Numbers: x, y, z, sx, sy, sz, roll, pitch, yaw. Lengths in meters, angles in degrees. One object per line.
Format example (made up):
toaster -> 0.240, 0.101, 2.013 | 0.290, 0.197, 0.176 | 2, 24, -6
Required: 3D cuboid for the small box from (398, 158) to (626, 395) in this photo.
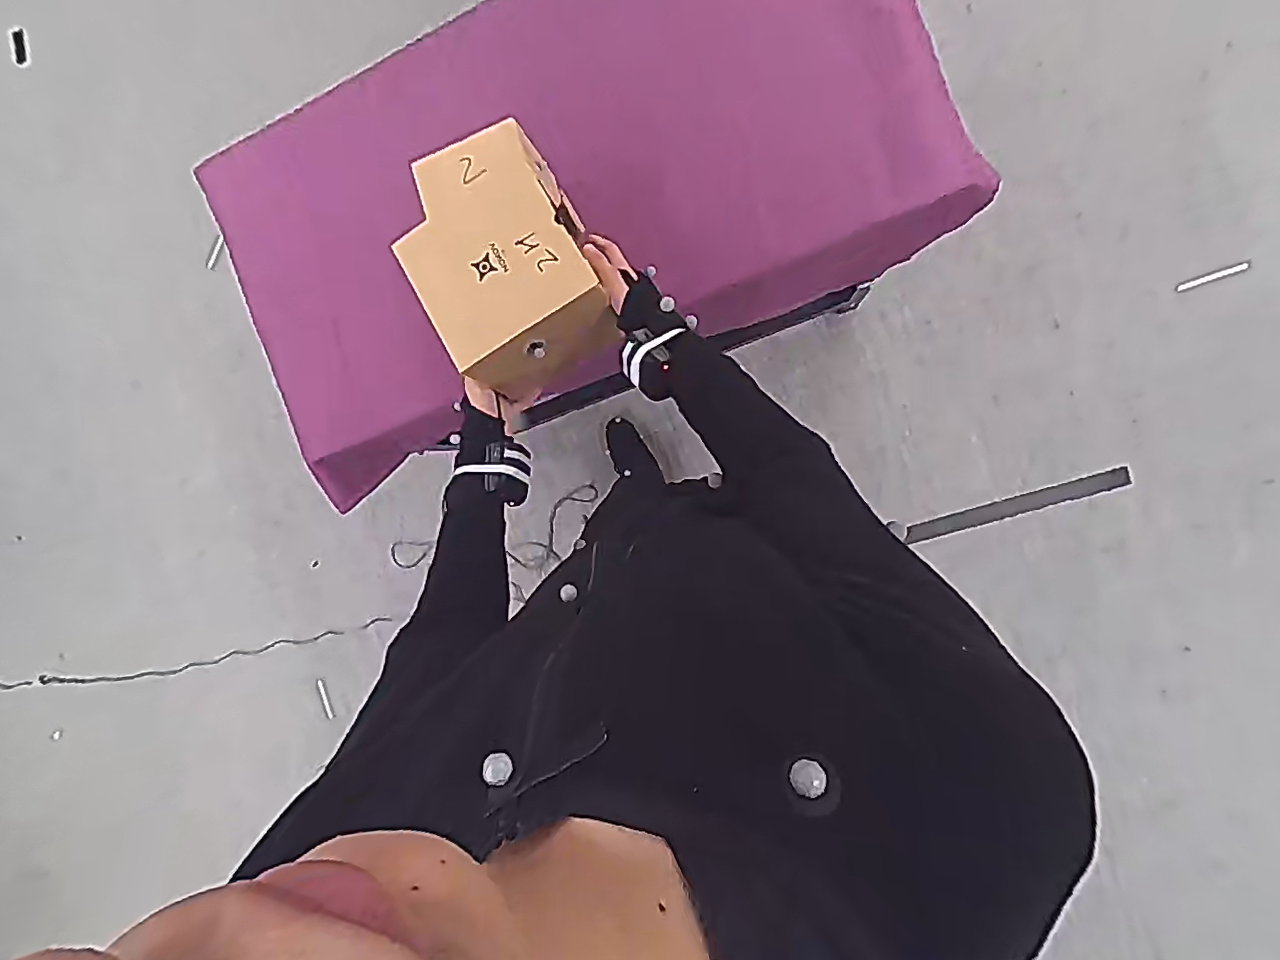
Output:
small box -> -0.138, -0.221, 0.642 | 0.179, 0.176, 0.168 | -30, 83, 7
